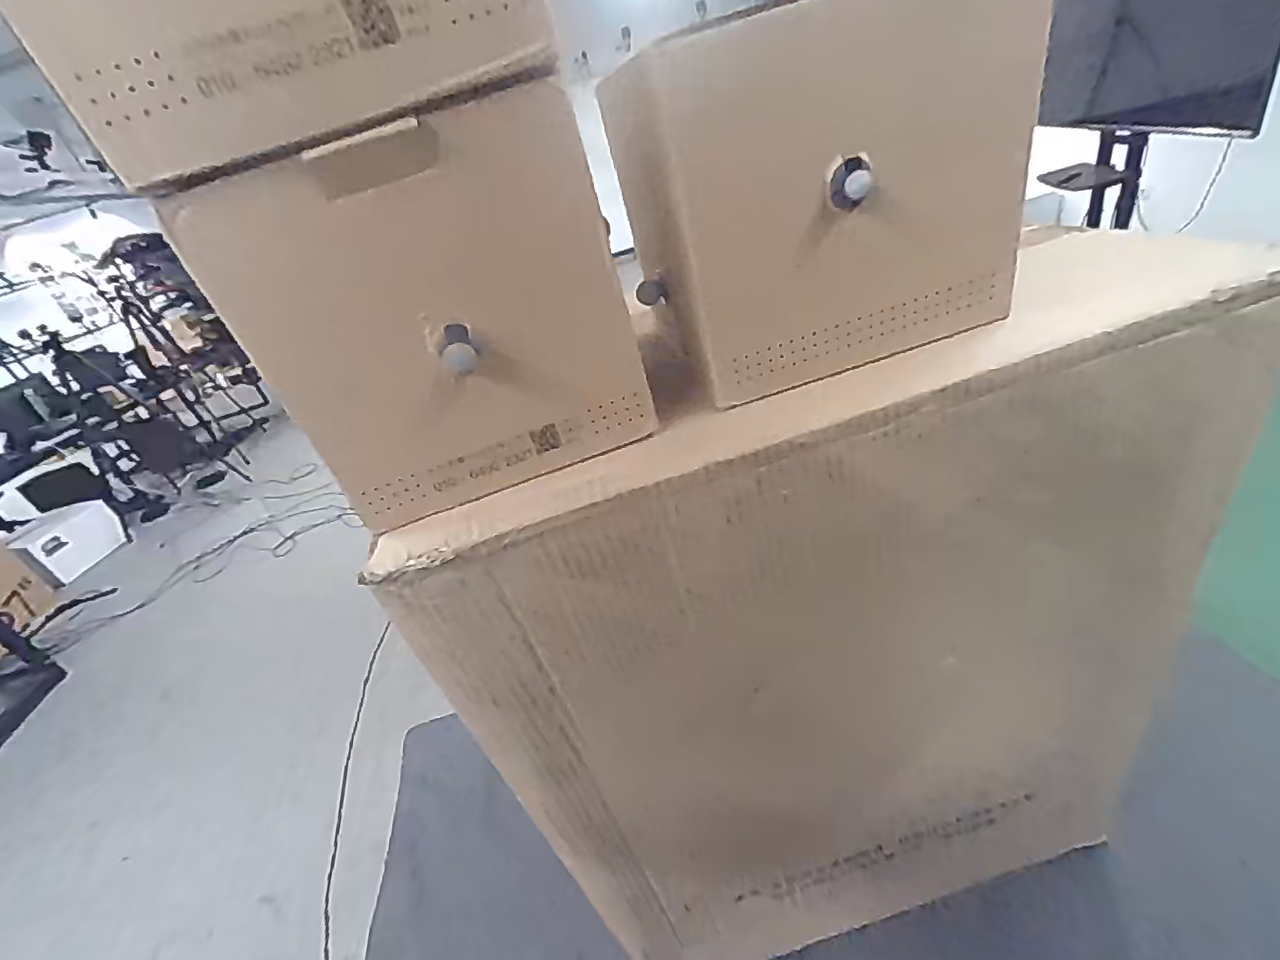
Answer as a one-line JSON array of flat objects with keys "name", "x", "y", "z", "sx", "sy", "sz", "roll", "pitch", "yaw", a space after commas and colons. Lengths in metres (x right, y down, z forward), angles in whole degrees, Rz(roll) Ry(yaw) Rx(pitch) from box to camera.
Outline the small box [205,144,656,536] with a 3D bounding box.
[{"name": "small box", "x": -0.104, "y": -0.086, "z": 0.339, "sx": 0.168, "sy": 0.176, "sz": 0.179, "roll": -22, "pitch": 33, "yaw": -5}]
